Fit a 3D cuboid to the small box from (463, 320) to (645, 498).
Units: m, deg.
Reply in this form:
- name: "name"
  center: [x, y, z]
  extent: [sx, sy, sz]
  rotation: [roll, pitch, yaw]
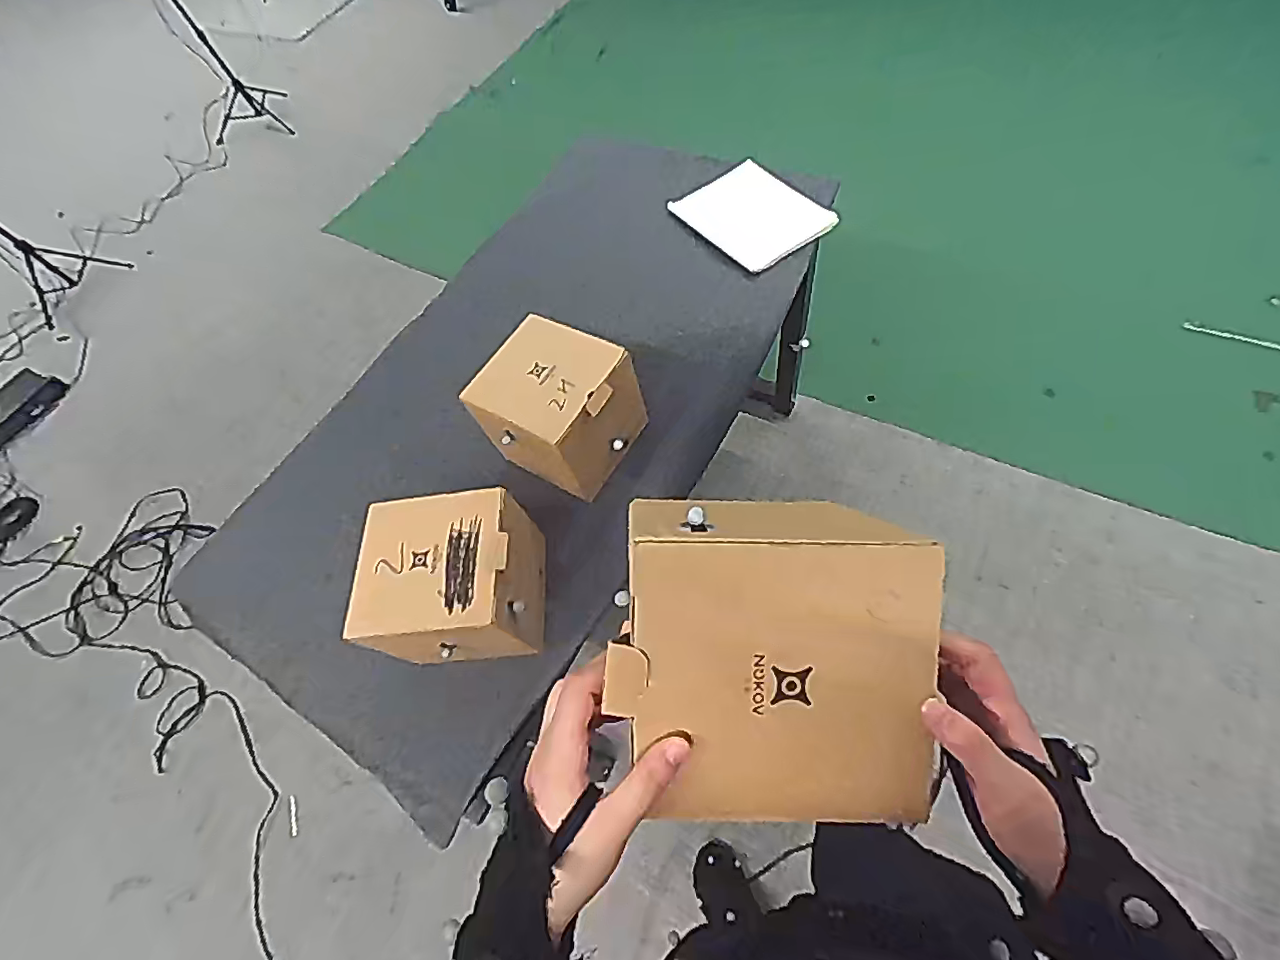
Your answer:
- name: "small box"
  center: [-0.114, -0.097, 0.792]
  extent: [0.179, 0.176, 0.168]
  rotation: [26, 71, 23]
